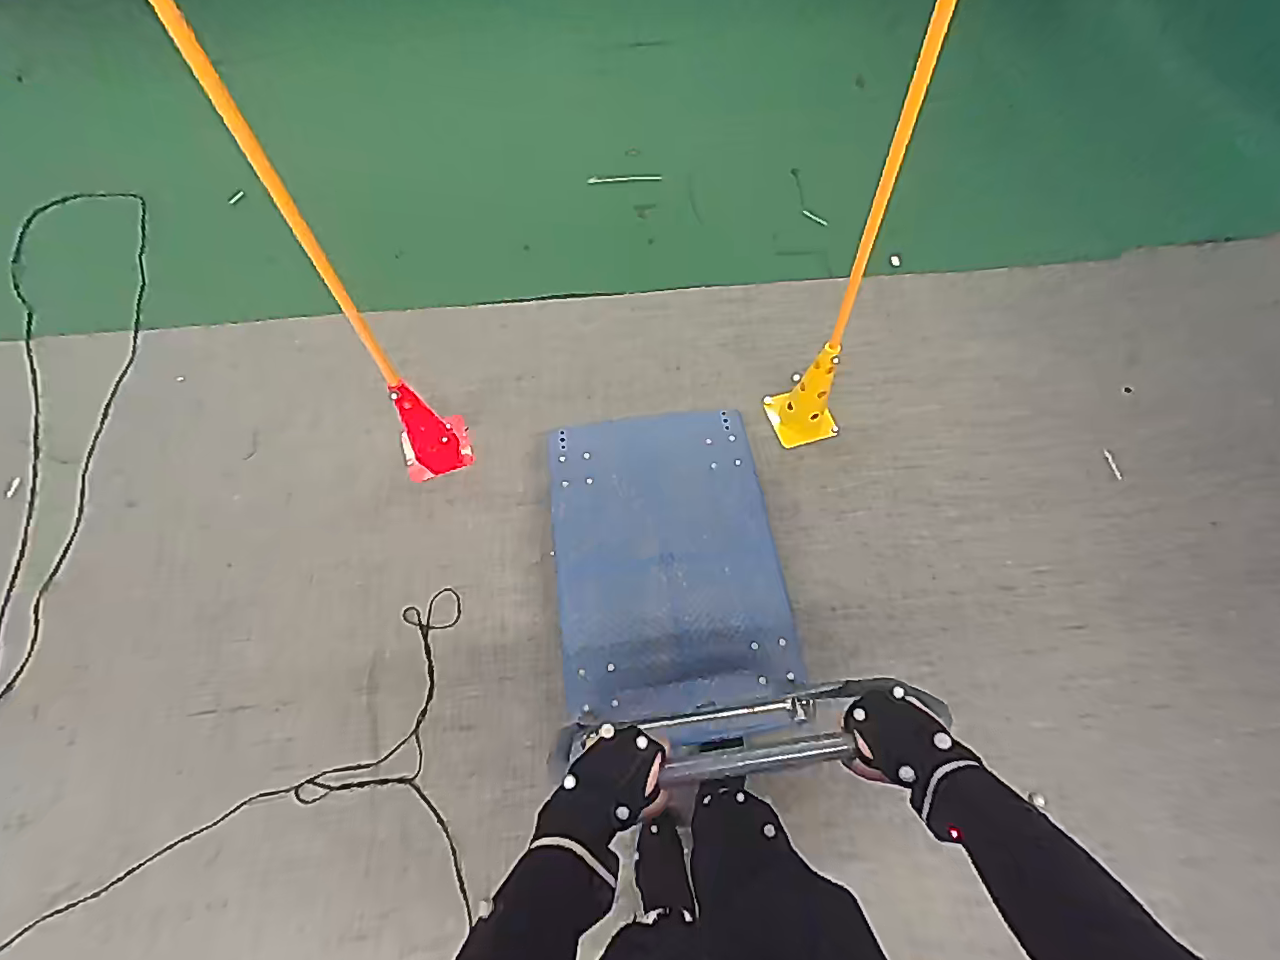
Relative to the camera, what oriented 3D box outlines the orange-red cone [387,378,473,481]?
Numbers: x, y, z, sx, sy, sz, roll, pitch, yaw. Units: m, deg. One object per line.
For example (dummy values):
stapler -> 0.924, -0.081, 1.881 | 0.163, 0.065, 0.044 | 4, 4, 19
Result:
orange-red cone -> -0.645, -0.173, 1.571 | 0.199, 0.360, 0.198 | -19, 65, -8
